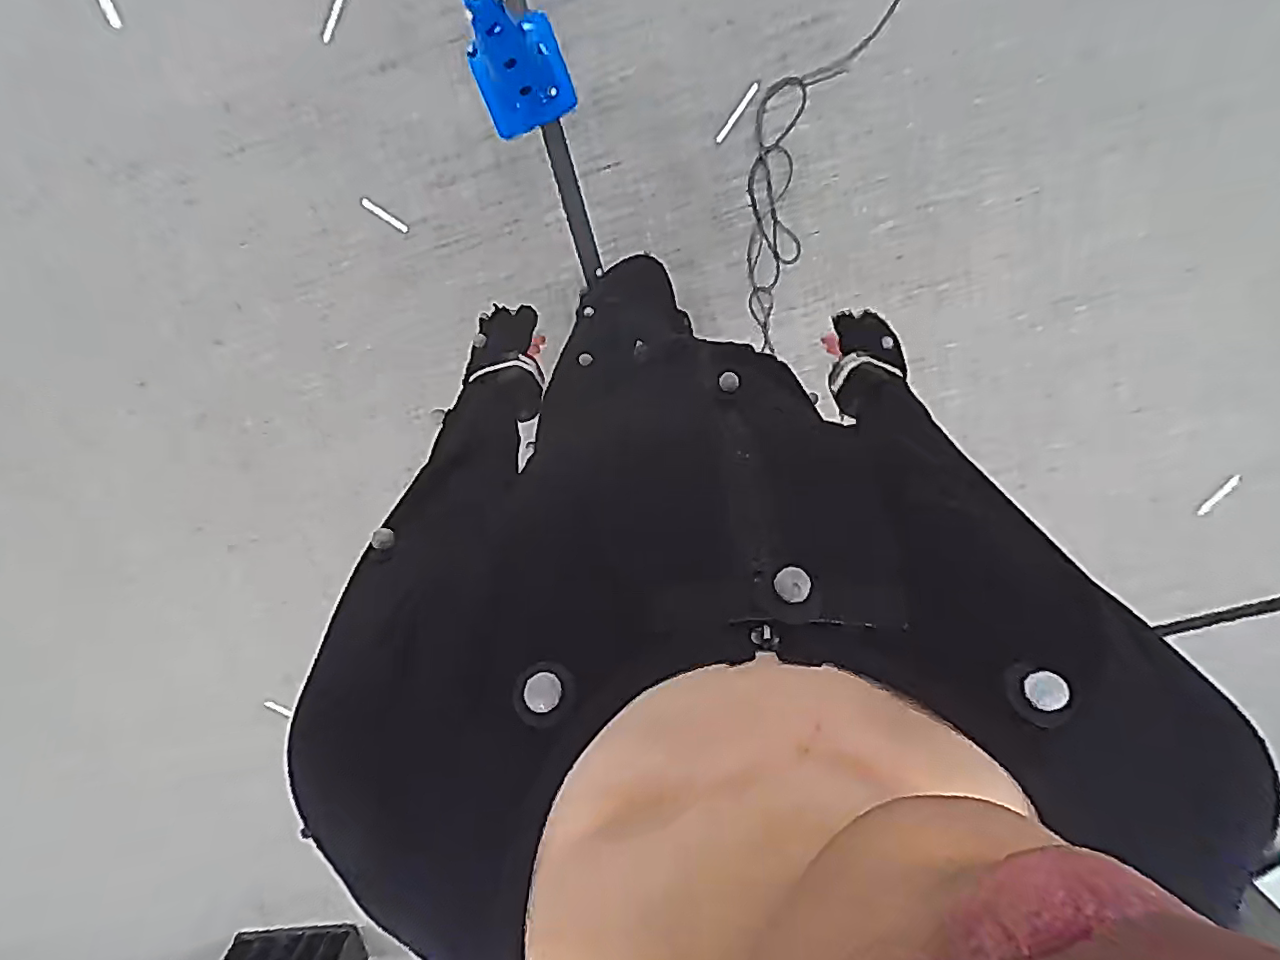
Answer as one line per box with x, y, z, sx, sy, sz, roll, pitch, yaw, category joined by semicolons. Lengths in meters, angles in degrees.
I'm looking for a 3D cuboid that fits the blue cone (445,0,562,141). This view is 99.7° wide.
-0.286;-0.835;1.051;0.192;0.380;0.193;-19;107;7;blue cone
